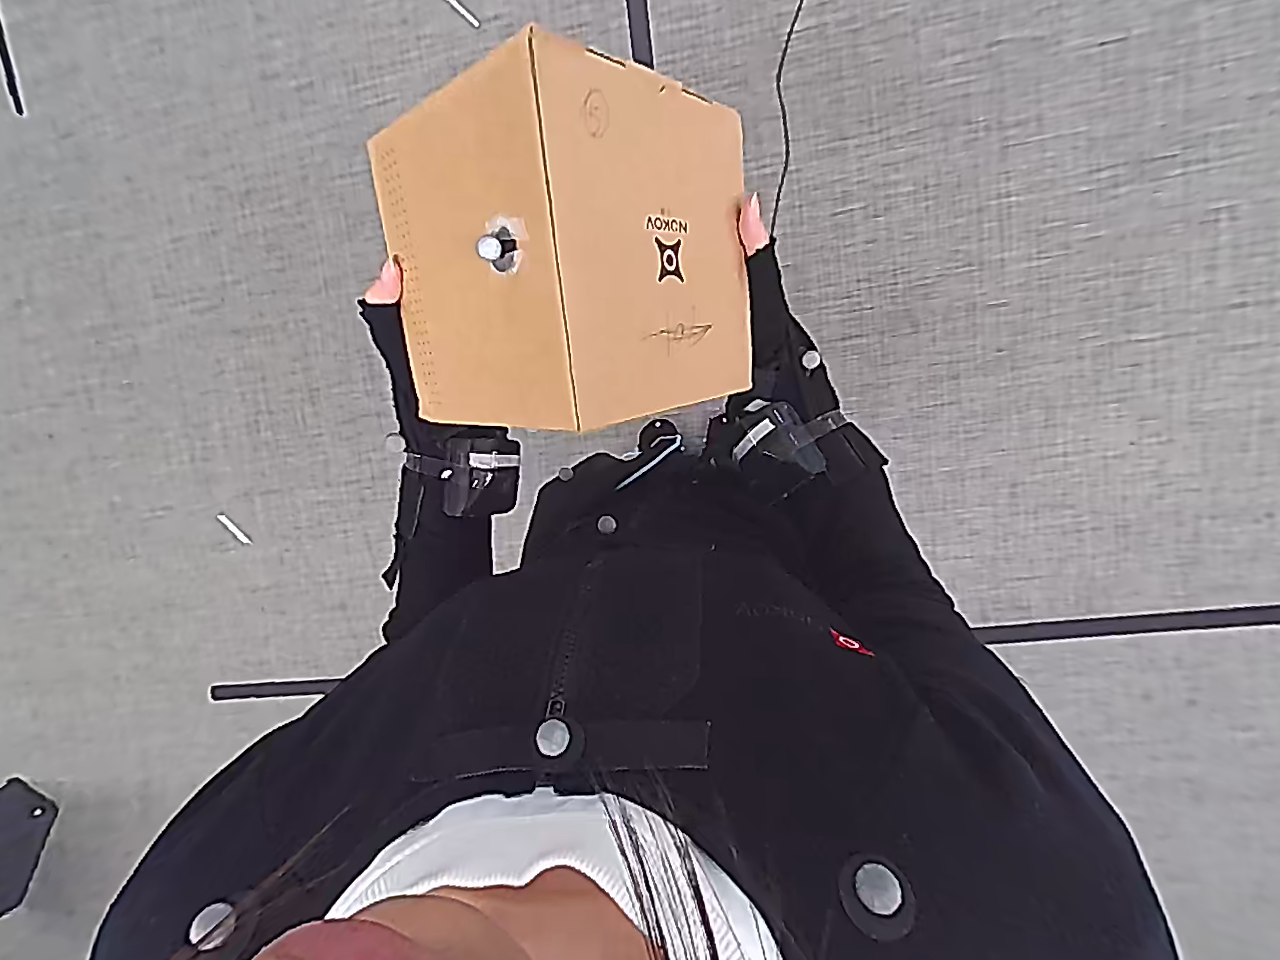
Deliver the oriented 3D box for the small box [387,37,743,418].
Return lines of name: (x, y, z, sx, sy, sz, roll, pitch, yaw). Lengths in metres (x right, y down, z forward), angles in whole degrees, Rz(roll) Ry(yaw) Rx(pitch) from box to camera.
small box: (-0.047, -0.140, 0.368, 0.176, 0.168, 0.179, 8, 109, 41)
